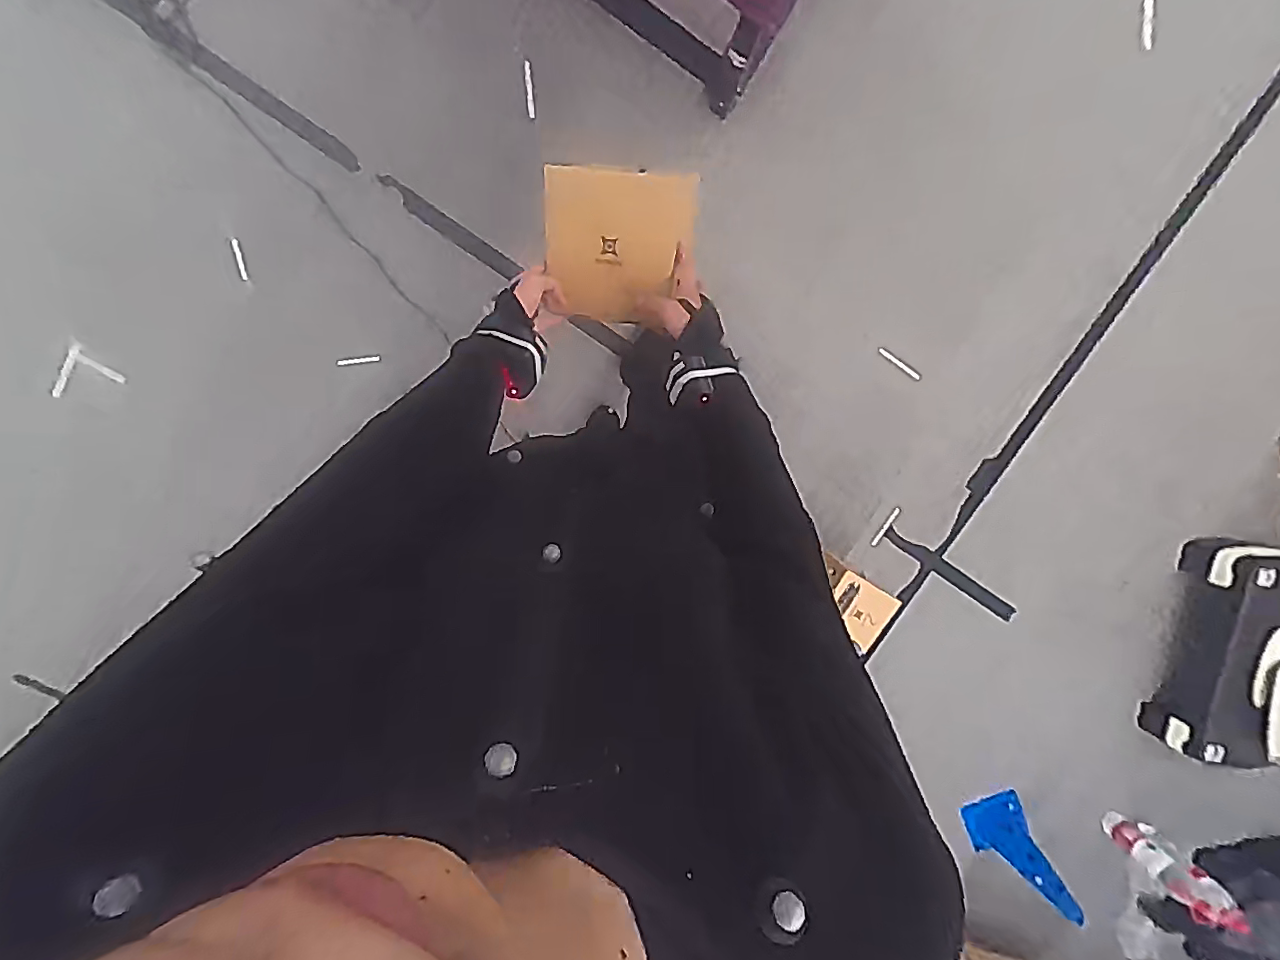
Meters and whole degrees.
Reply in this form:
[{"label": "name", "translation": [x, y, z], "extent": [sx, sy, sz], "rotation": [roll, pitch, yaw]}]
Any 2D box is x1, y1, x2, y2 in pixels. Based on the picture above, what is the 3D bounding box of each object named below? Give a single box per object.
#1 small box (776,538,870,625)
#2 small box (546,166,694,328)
[{"label": "small box", "translation": [0.535, 0.293, 1.608], "extent": [0.179, 0.176, 0.168], "rotation": [29, 98, -6]}, {"label": "small box", "translation": [-0.022, -0.324, 0.739], "extent": [0.168, 0.176, 0.179], "rotation": [9, 123, 9]}]
